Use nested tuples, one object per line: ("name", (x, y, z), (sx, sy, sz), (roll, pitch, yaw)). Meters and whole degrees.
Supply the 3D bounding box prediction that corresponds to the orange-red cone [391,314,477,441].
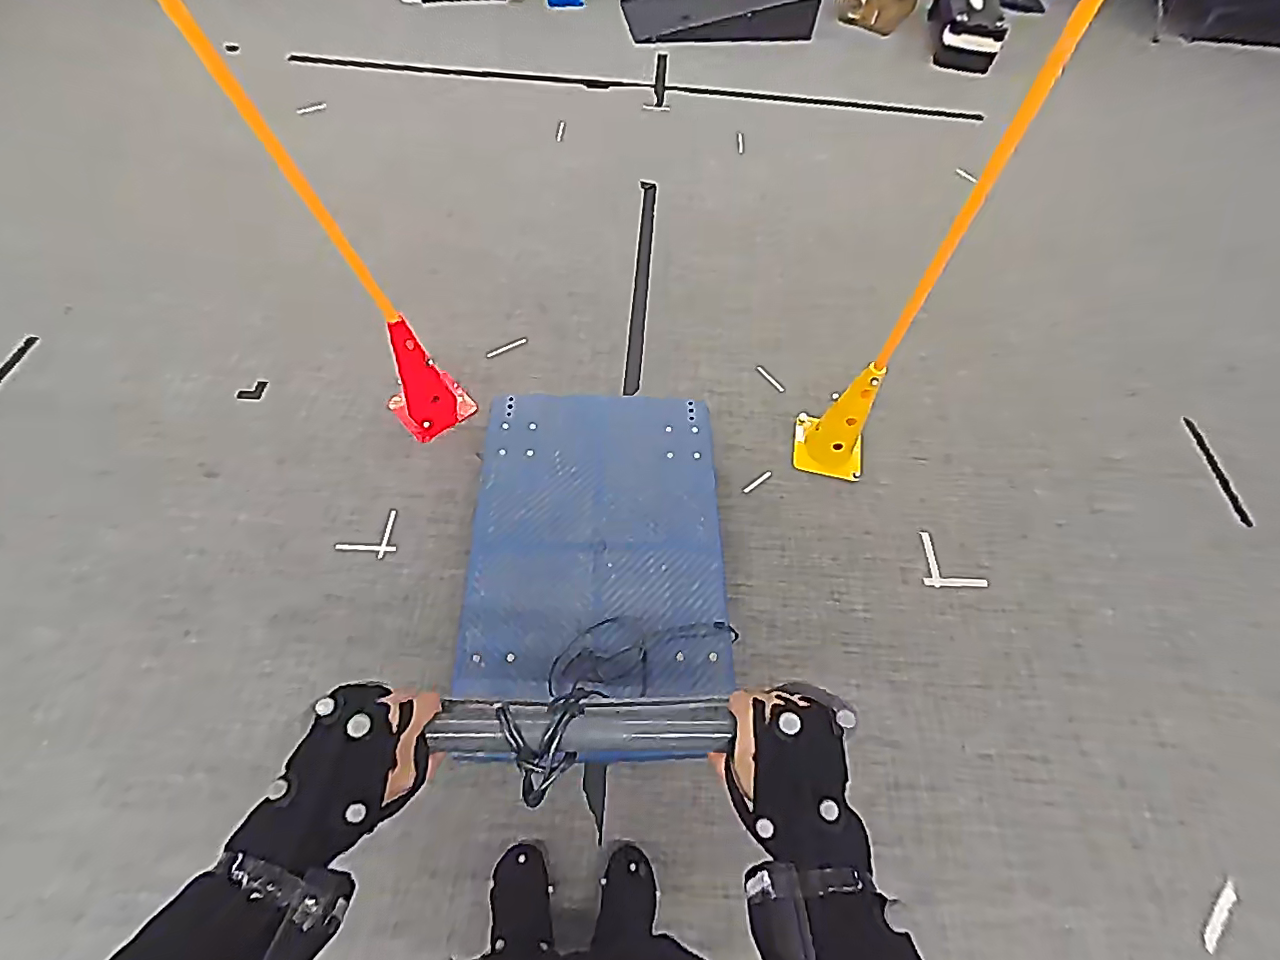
("orange-red cone", (-0.599, -0.305, 1.464), (0.199, 0.360, 0.198), (-36, 69, -23))
